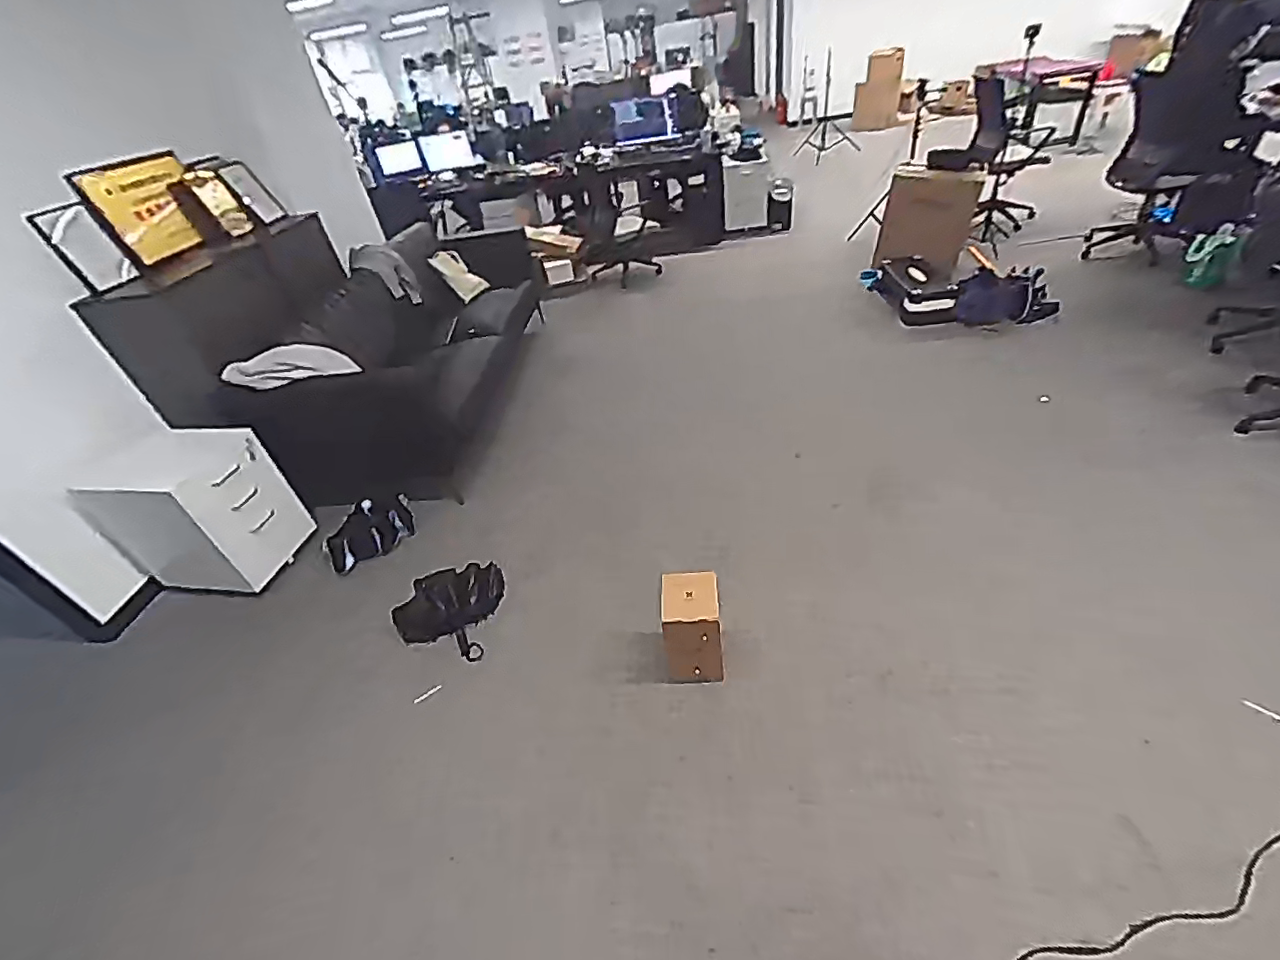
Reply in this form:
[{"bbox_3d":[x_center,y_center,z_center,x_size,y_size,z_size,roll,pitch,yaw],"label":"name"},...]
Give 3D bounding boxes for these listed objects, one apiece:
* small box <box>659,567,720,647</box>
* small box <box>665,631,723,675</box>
[{"bbox_3d":[0.148,0.385,1.614,0.168,0.176,0.179,-4,39,6],"label":"small box"},{"bbox_3d":[0.171,0.505,1.721,0.168,0.176,0.179,-5,41,6],"label":"small box"}]
